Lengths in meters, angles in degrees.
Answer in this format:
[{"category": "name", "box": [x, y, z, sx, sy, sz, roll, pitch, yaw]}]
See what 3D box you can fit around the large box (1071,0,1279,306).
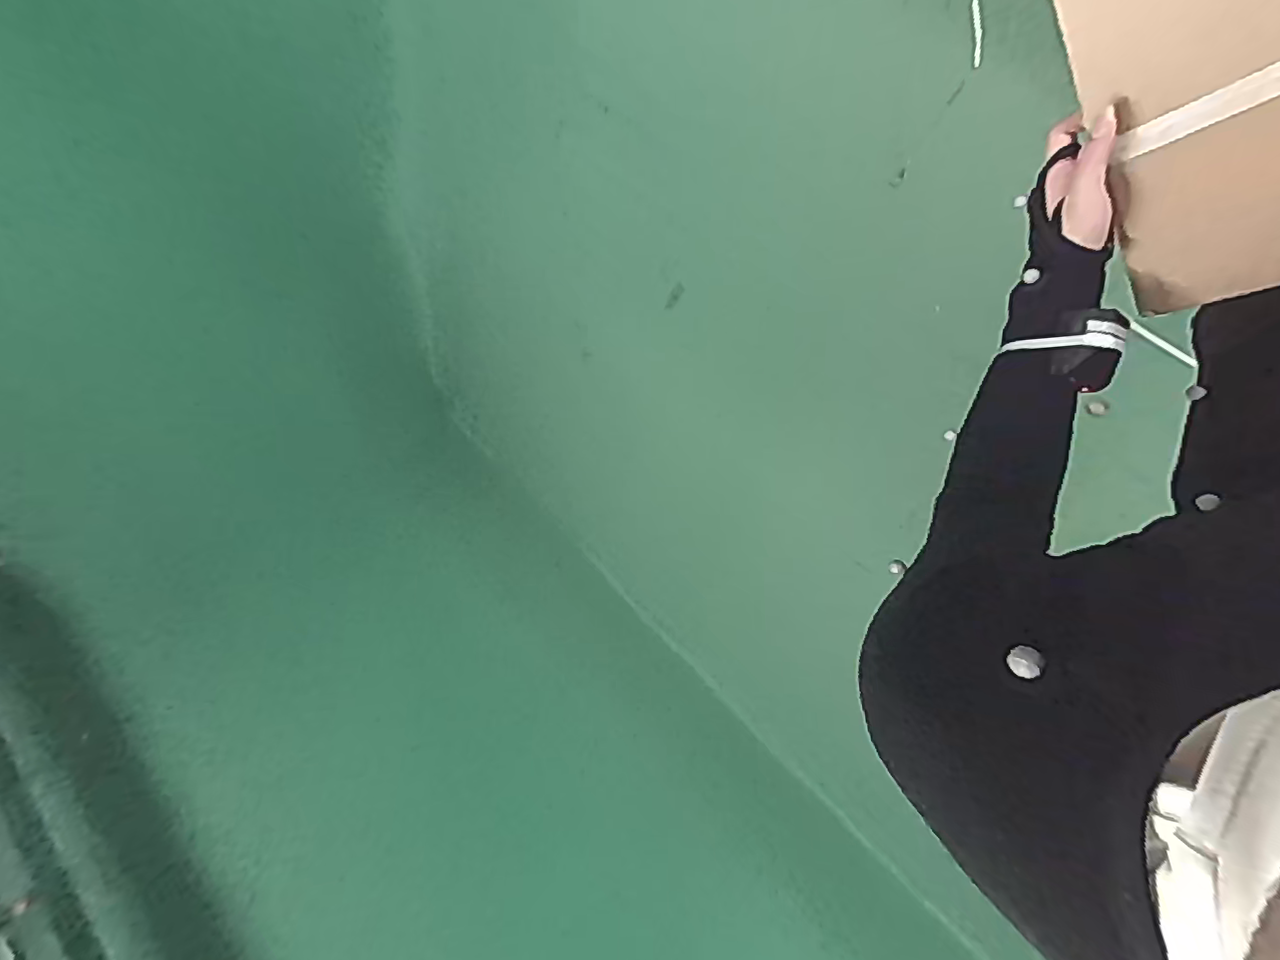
[{"category": "large box", "box": [0.615, -0.386, 0.391, 0.408, 0.320, 0.320, -9, 117, 51]}]
